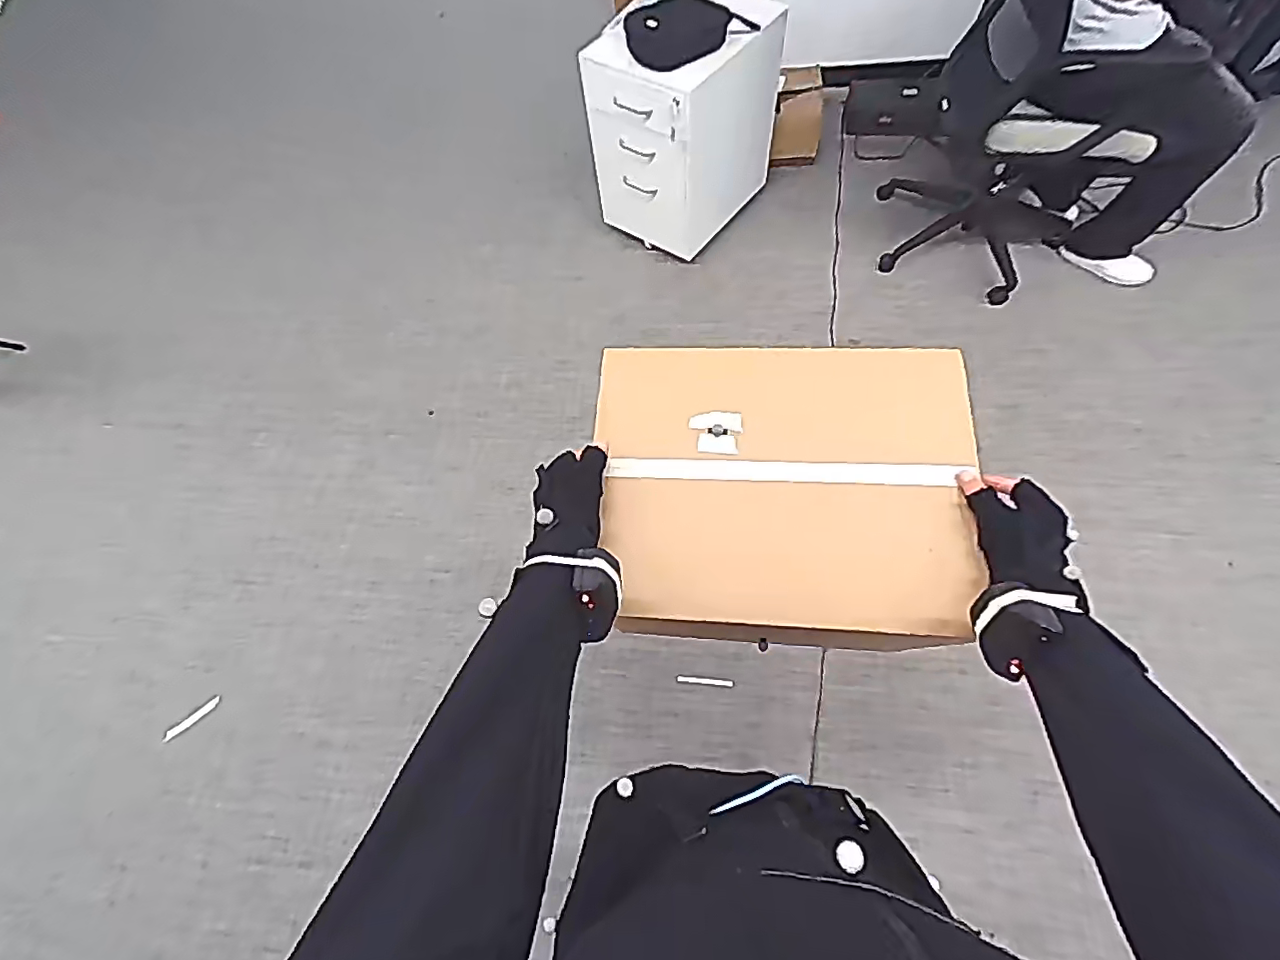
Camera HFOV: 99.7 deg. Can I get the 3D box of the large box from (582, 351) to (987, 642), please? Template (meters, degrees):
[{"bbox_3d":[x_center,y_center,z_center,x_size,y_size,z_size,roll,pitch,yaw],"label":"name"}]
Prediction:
[{"bbox_3d":[0.165,0.044,0.727,0.408,0.320,0.320,2,70,9],"label":"large box"}]
